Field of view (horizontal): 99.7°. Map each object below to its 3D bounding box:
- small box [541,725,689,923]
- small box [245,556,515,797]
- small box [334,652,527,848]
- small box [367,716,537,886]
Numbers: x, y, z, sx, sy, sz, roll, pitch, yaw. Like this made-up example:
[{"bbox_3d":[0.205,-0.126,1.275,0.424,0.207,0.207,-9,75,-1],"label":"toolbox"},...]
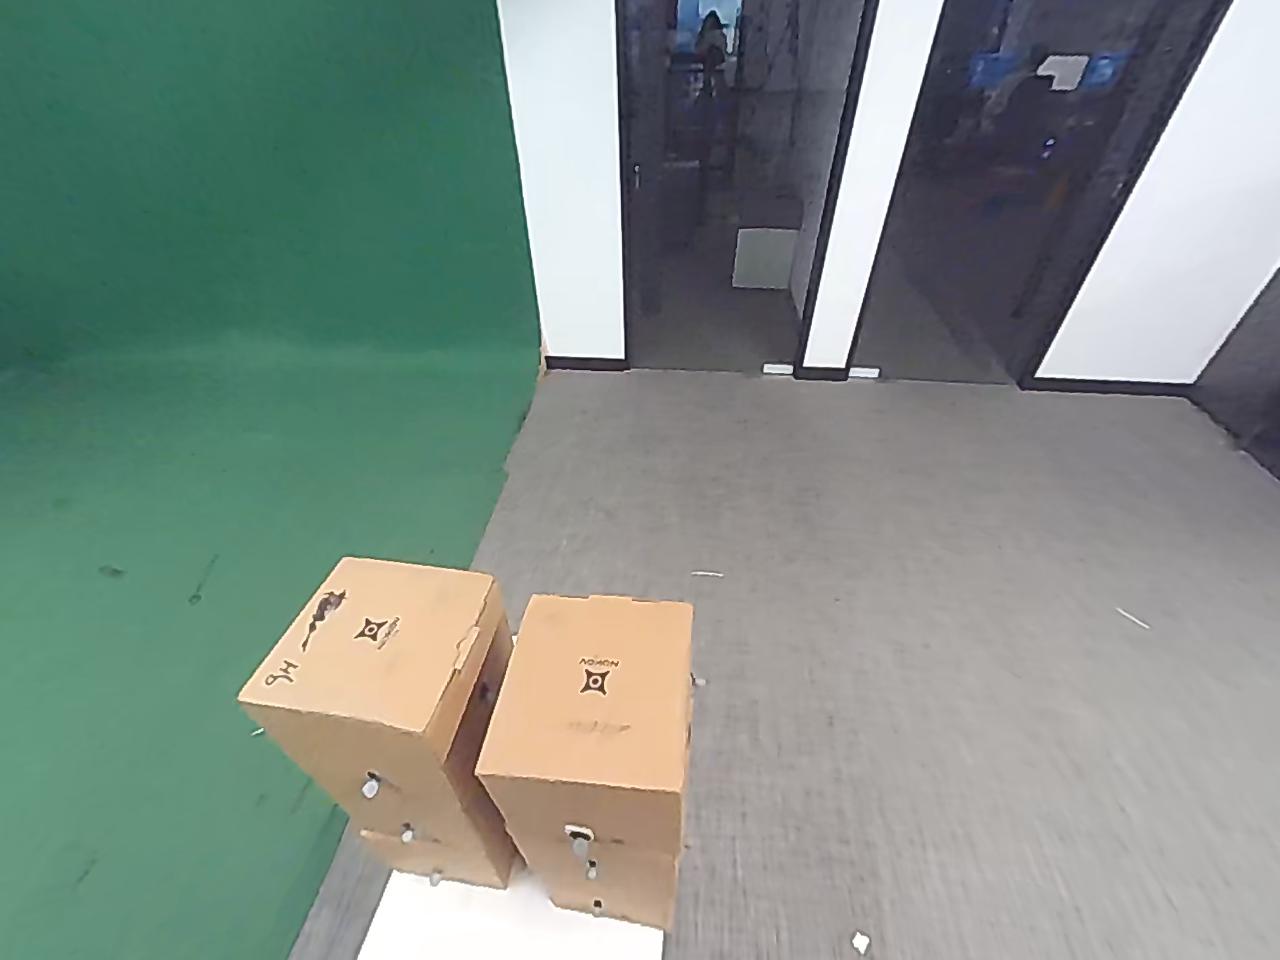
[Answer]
[{"bbox_3d":[-0.025,0.476,0.753,0.168,0.176,0.179,5,41,8],"label":"small box"},{"bbox_3d":[-0.244,0.206,0.566,0.179,0.176,0.168,7,41,6],"label":"small box"},{"bbox_3d":[-0.248,0.325,0.679,0.168,0.176,0.179,6,41,7],"label":"small box"},{"bbox_3d":[-0.254,0.451,0.784,0.168,0.176,0.179,6,42,6],"label":"small box"}]
